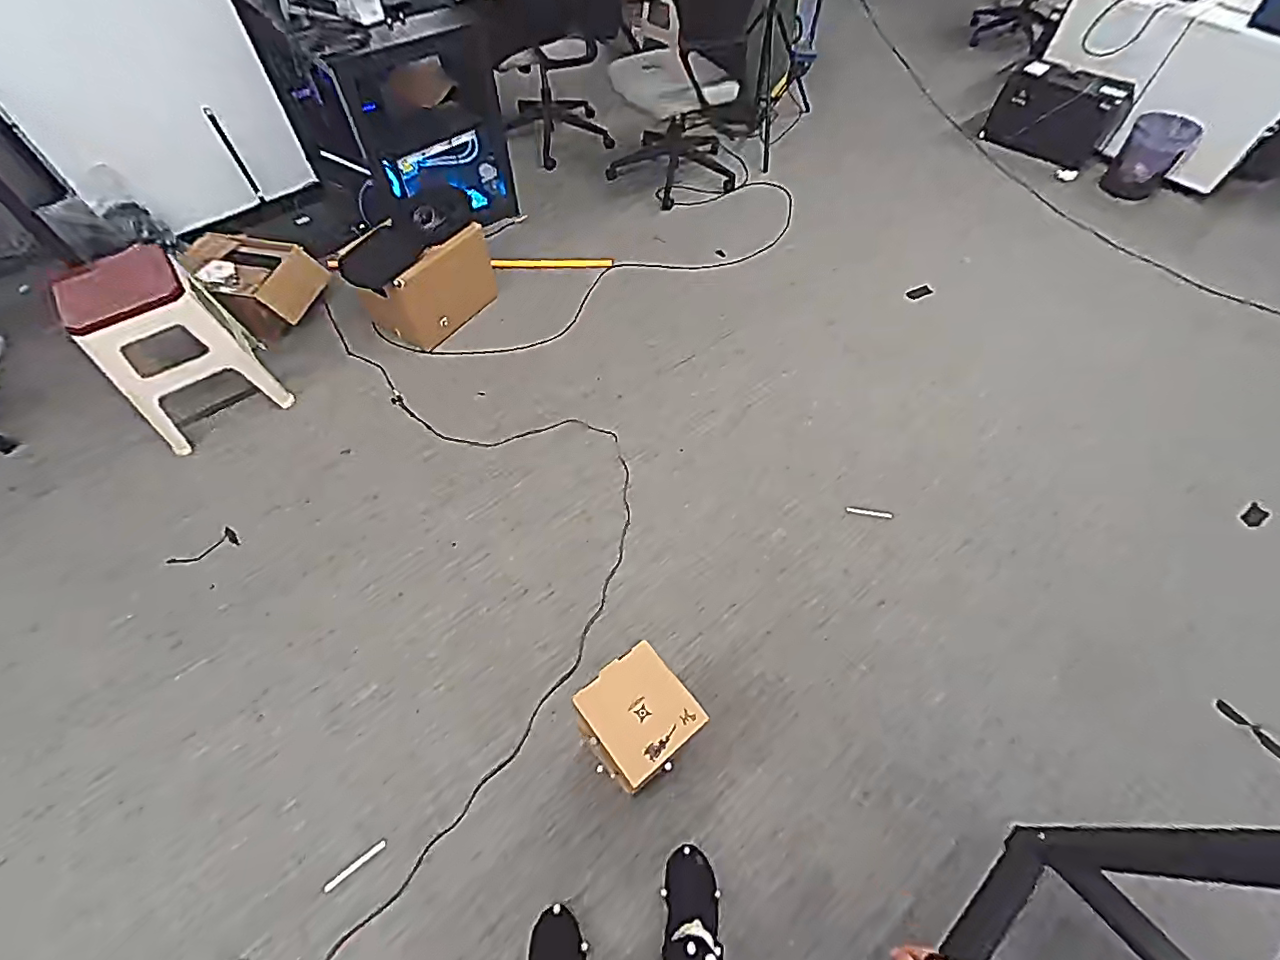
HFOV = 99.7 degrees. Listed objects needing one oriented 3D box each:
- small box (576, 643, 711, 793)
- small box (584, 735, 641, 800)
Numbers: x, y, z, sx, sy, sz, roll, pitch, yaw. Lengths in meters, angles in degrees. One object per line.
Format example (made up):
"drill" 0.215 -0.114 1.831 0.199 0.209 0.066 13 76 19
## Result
"small box" 0.003 0.435 0.979 0.168 0.176 0.179 -34 63 -21
"small box" -0.011 0.609 1.255 0.179 0.176 0.168 -38 65 -22
